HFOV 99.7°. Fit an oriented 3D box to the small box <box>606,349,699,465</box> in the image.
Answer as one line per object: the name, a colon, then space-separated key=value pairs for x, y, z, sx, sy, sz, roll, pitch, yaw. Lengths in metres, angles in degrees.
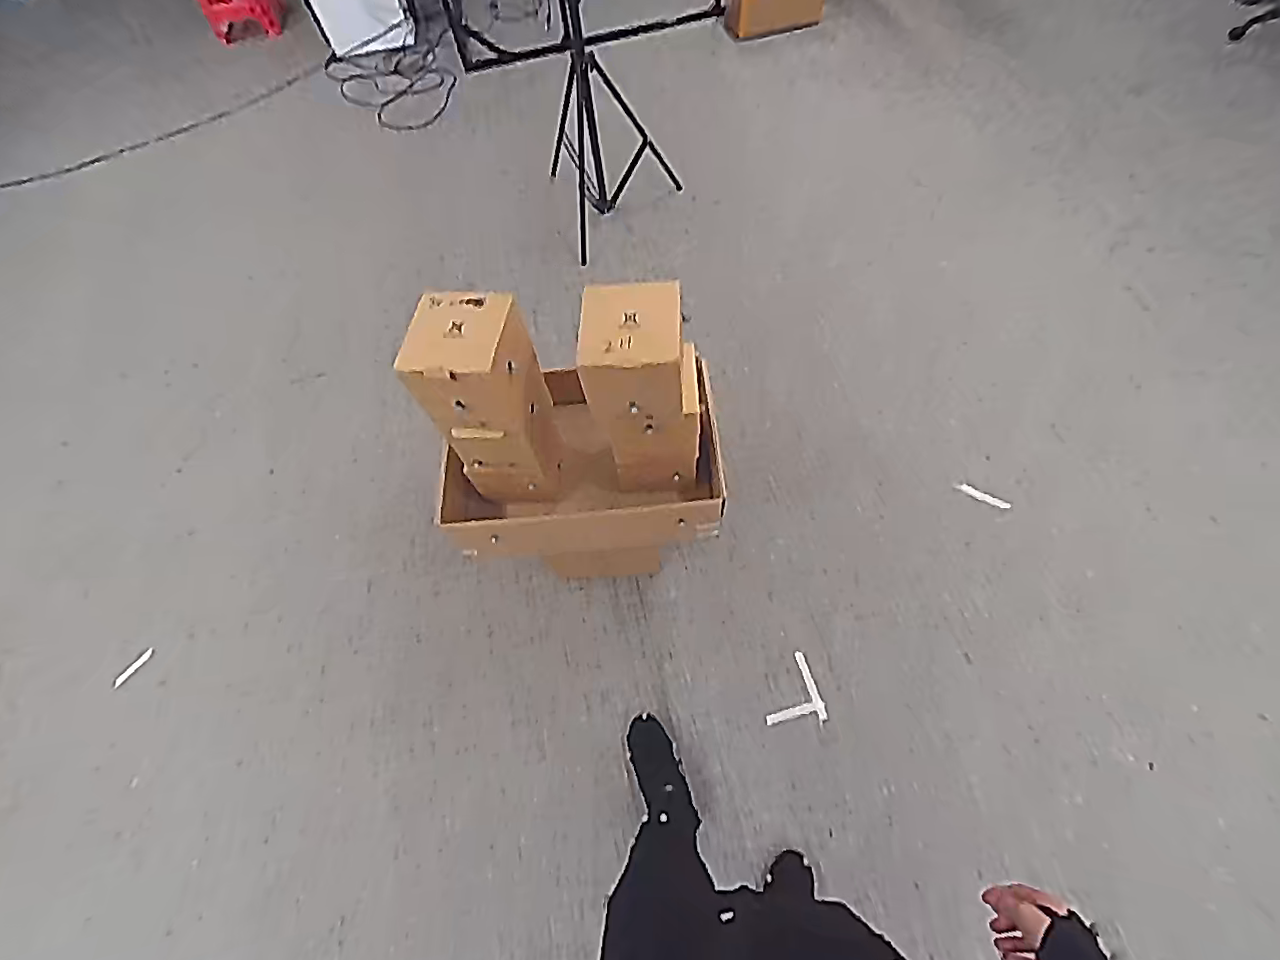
small box: x=0.026 y=-0.143 z=1.096 sx=0.179 sy=0.176 sz=0.168 roll=-4 pitch=62 yaw=4

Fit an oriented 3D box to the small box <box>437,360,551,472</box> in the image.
small box: x=-0.289 y=-0.128 z=1.116 sx=0.168 sy=0.176 sz=0.179 roll=1 pitch=62 yaw=6

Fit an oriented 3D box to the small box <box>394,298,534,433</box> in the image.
small box: x=-0.301 y=-0.199 z=0.968 sx=0.168 sy=0.176 sz=0.179 roll=5 pitch=63 yaw=7

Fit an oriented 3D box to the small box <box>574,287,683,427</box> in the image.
small box: x=-0.011 y=-0.210 z=0.949 sx=0.168 sy=0.176 sz=0.179 roll=-1 pitch=63 yaw=7
